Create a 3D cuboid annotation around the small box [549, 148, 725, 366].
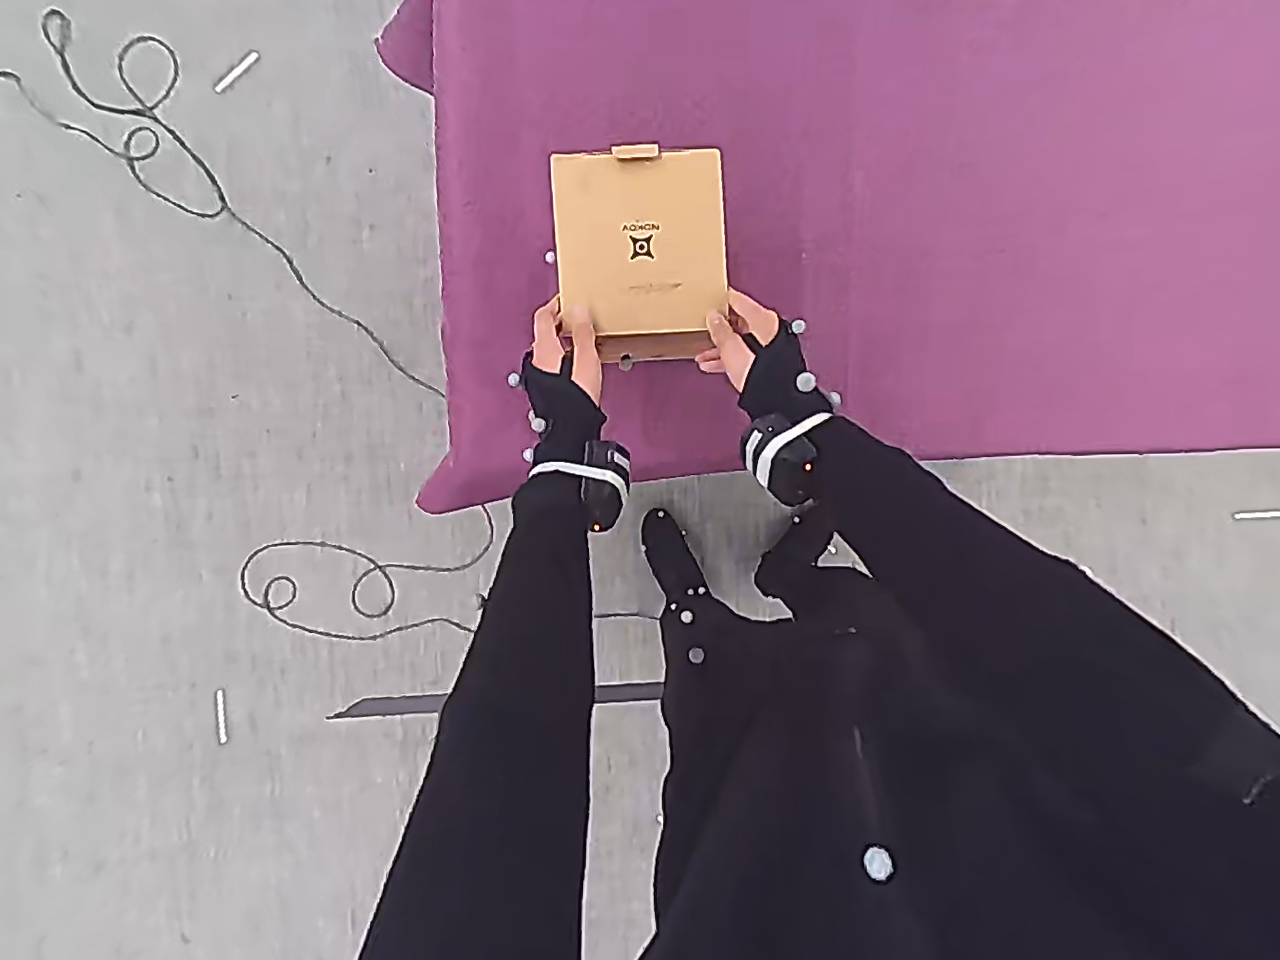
[{"bbox_3d":[-0.008,-0.229,0.593,0.168,0.176,0.179,-3,93,-3],"label":"small box"}]
